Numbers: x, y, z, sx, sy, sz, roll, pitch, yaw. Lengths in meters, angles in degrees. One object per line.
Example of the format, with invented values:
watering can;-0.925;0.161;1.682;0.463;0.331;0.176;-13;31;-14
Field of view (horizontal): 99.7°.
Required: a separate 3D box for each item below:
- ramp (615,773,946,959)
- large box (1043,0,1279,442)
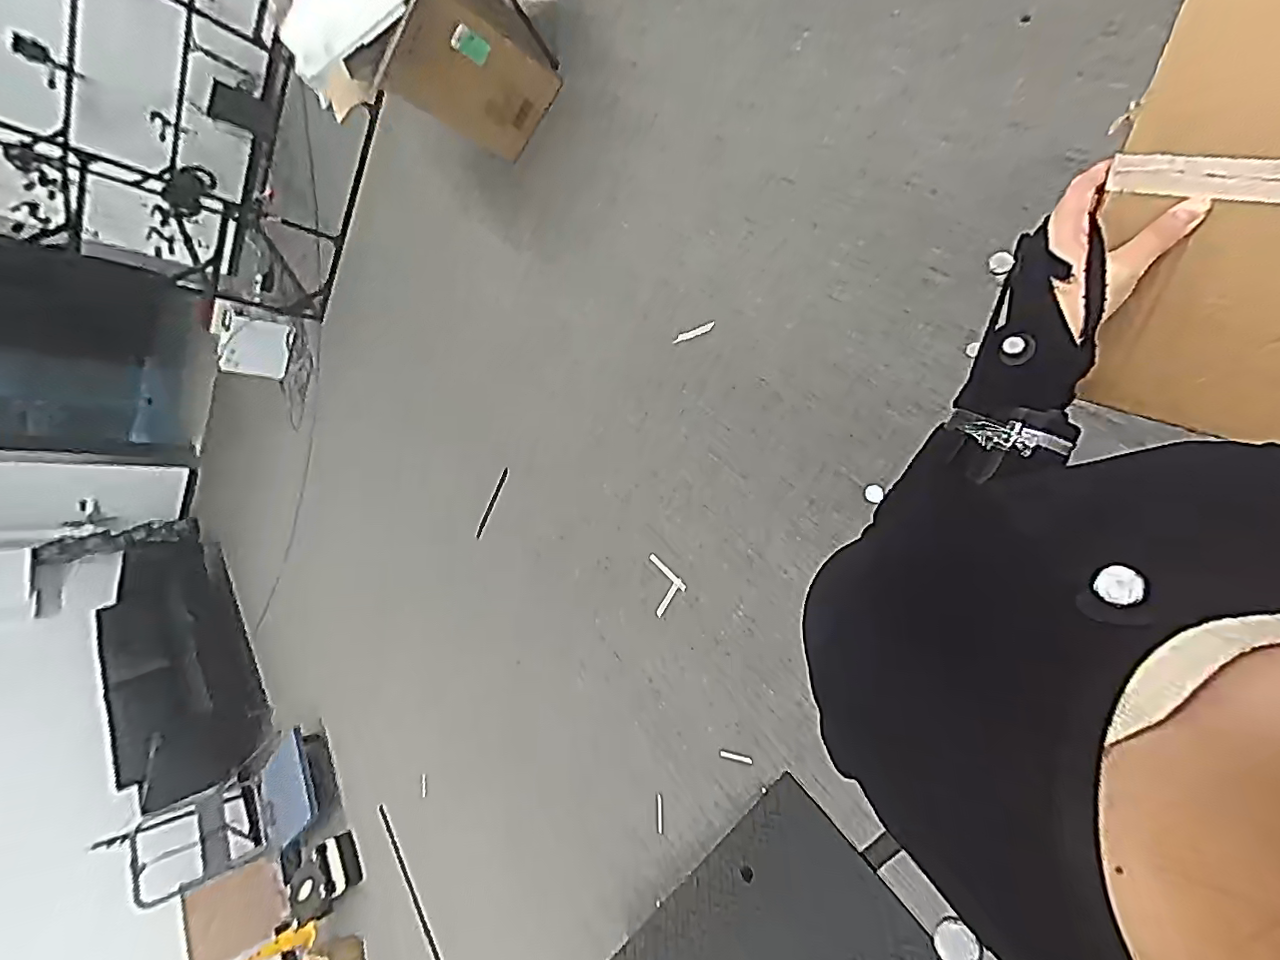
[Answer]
ramp;0.287;1.343;1.489;0.509;0.206;0.991;42;114;34
large box;0.554;-0.195;0.306;0.408;0.320;0.320;30;142;39
